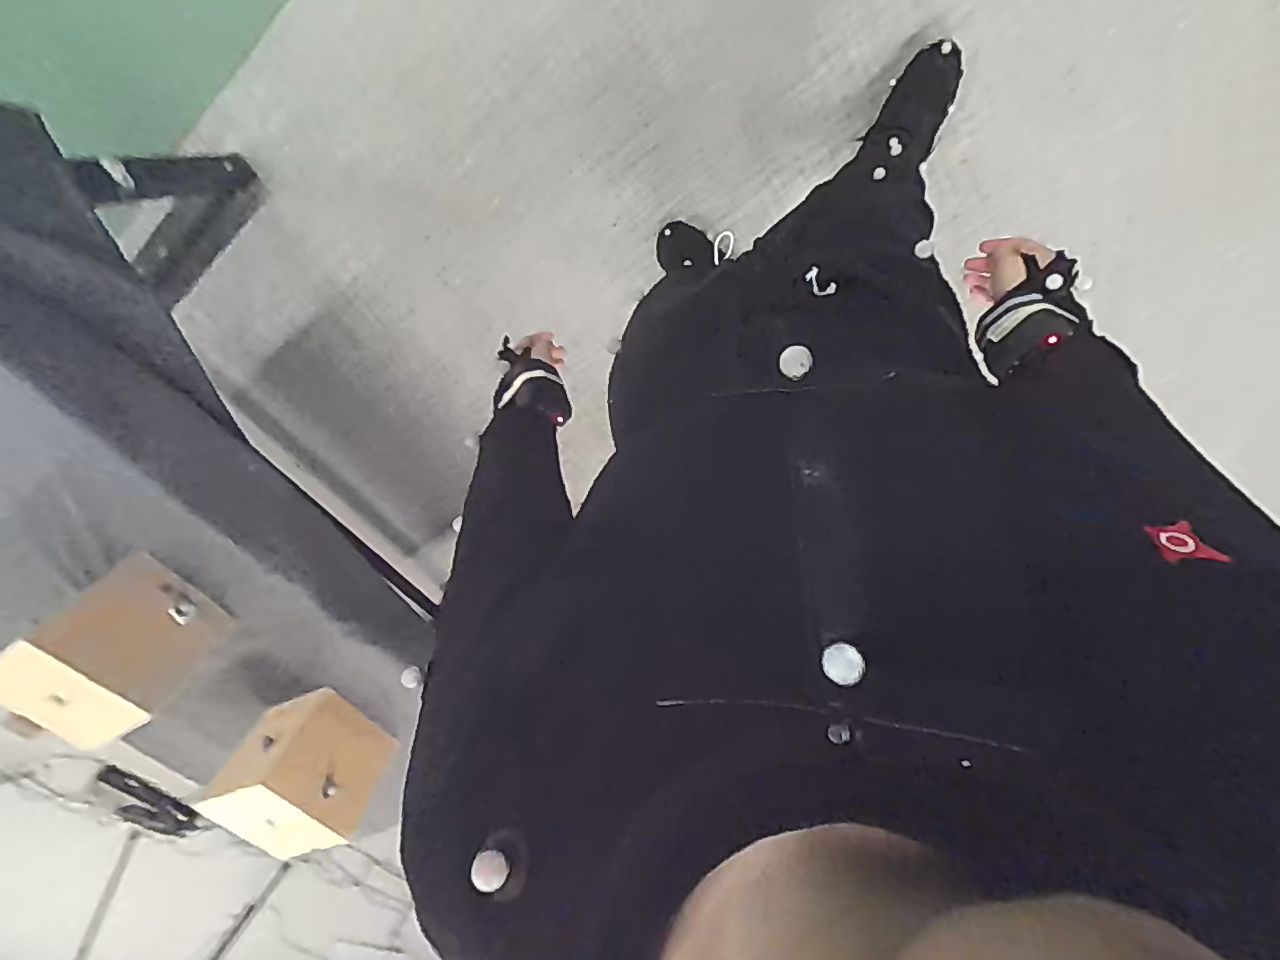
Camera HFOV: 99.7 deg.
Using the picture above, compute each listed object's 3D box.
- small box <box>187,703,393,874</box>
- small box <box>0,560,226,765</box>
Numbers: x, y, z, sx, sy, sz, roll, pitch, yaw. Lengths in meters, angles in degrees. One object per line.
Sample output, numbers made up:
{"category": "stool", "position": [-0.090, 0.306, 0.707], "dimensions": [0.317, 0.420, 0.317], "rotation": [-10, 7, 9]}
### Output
{"category": "small box", "position": [-0.539, 0.481, 0.860], "dimensions": [0.168, 0.176, 0.179], "rotation": [-25, 116, 18]}
{"category": "small box", "position": [-0.720, 0.242, 0.729], "dimensions": [0.179, 0.176, 0.168], "rotation": [-30, 116, 19]}
